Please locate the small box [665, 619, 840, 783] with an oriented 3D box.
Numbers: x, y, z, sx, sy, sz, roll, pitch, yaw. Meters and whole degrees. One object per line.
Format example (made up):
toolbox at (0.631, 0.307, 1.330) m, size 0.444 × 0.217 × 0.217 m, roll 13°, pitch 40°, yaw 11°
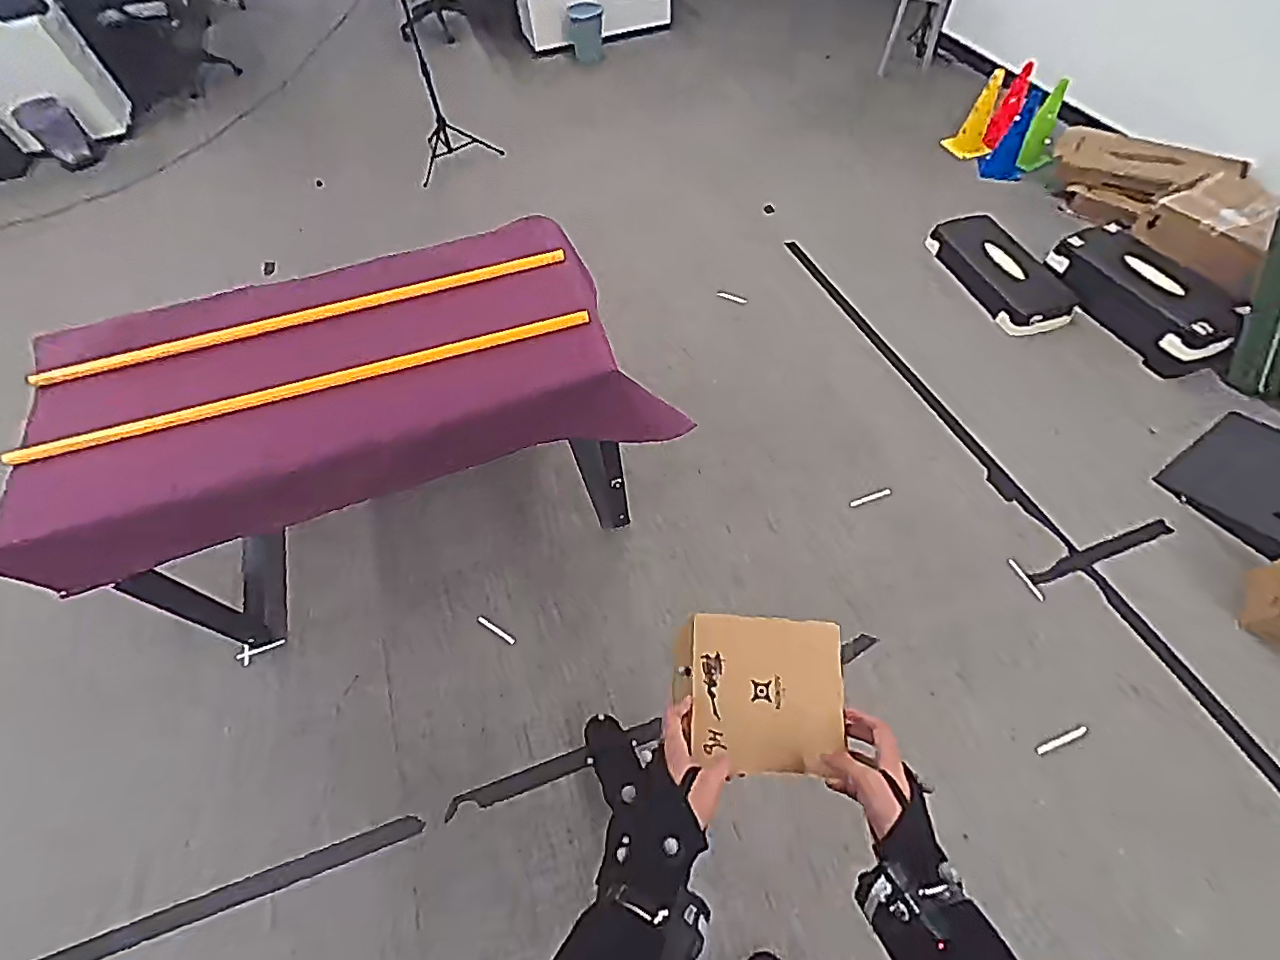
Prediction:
small box at (0.133, 0.275, 0.691) m, size 0.179 × 0.176 × 0.168 m, roll 5°, pitch 69°, yaw -3°
